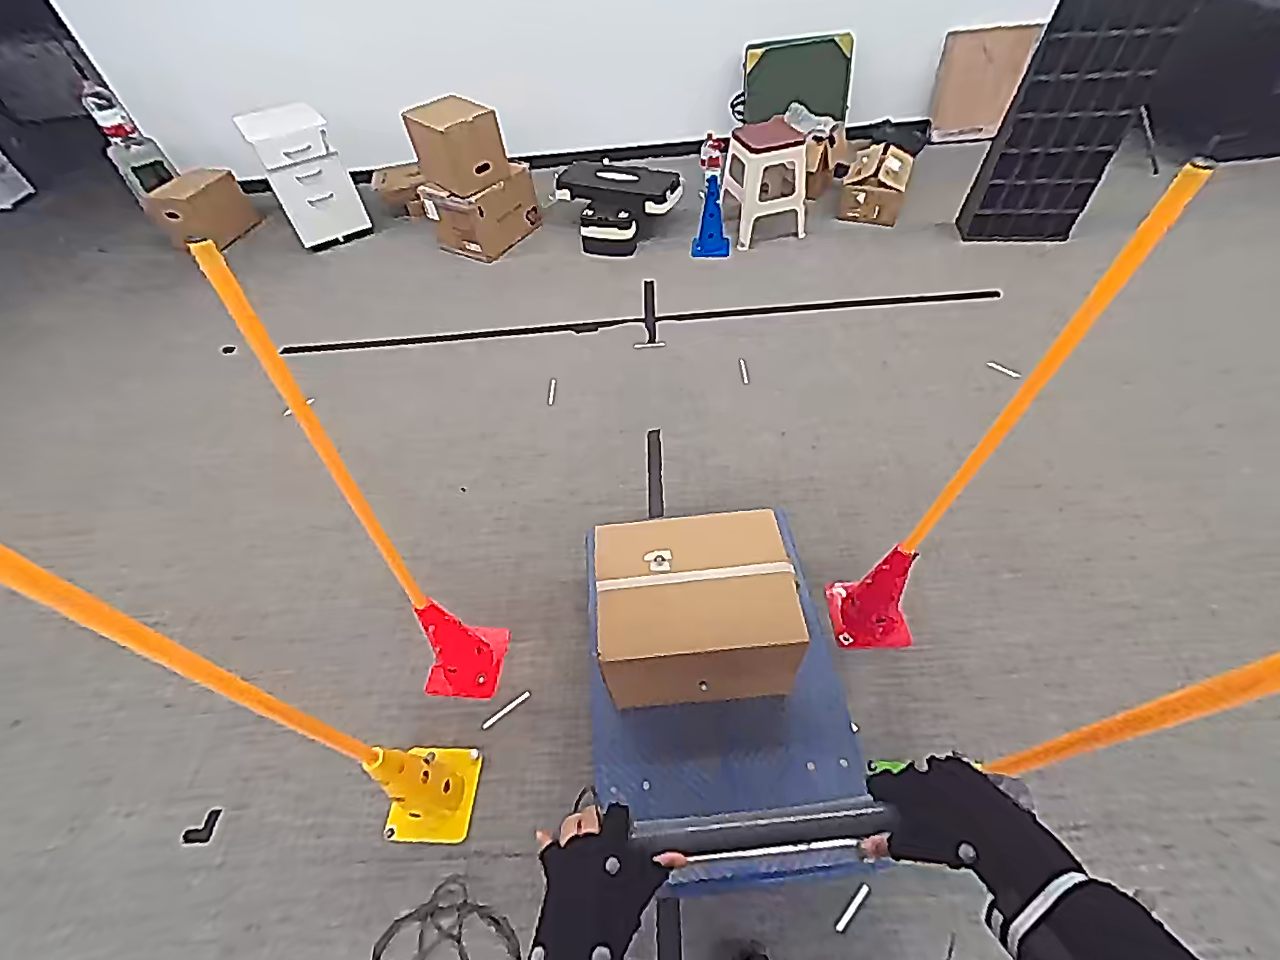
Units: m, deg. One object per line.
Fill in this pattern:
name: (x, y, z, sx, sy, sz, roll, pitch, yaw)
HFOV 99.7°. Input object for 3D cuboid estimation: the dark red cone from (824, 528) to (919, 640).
dark red cone: (0.629, 0.252, 1.393, 0.201, 0.394, 0.202, -2, 51, 1)

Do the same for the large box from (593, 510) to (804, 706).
large box: (0.118, 0.299, 1.236, 0.408, 0.320, 0.320, -6, 51, 1)

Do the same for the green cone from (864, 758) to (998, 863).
green cone: (0.619, 0.637, 1.098, 0.202, 0.368, 0.200, 0, 51, 4)

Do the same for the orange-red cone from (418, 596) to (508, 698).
orange-red cone: (-0.495, 0.398, 1.398, 0.198, 0.360, 0.199, 3, 49, 6)
